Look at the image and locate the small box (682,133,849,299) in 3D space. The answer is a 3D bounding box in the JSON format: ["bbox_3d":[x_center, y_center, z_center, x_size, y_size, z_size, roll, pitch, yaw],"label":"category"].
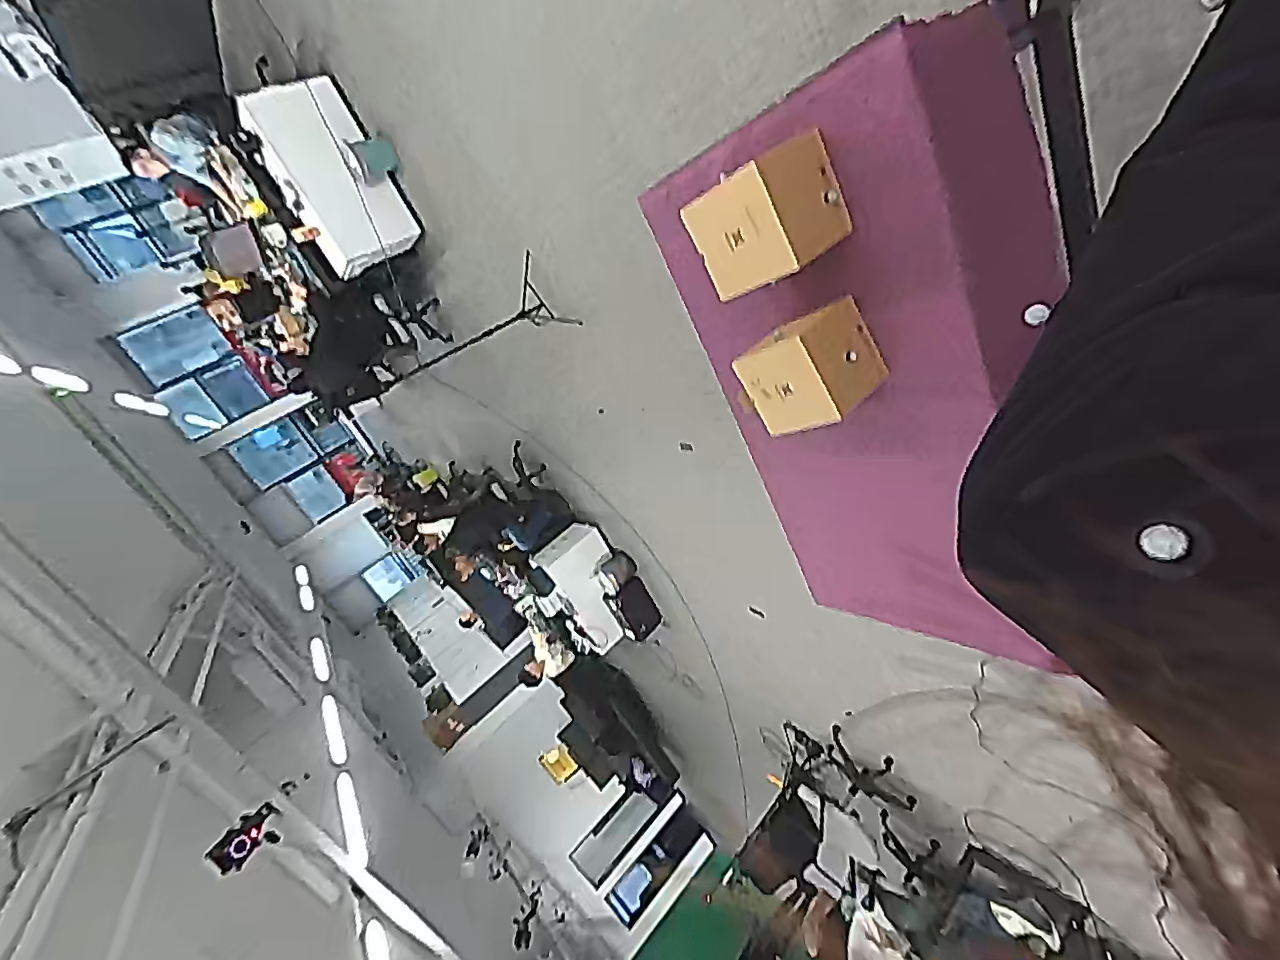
[{"bbox_3d":[0.208,-0.431,0.897,0.179,0.176,0.168,1,126,58],"label":"small box"}]

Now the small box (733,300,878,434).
[{"bbox_3d":[0.316,-0.209,1.013,0.168,0.176,0.179,57,153,-13],"label":"small box"}]
